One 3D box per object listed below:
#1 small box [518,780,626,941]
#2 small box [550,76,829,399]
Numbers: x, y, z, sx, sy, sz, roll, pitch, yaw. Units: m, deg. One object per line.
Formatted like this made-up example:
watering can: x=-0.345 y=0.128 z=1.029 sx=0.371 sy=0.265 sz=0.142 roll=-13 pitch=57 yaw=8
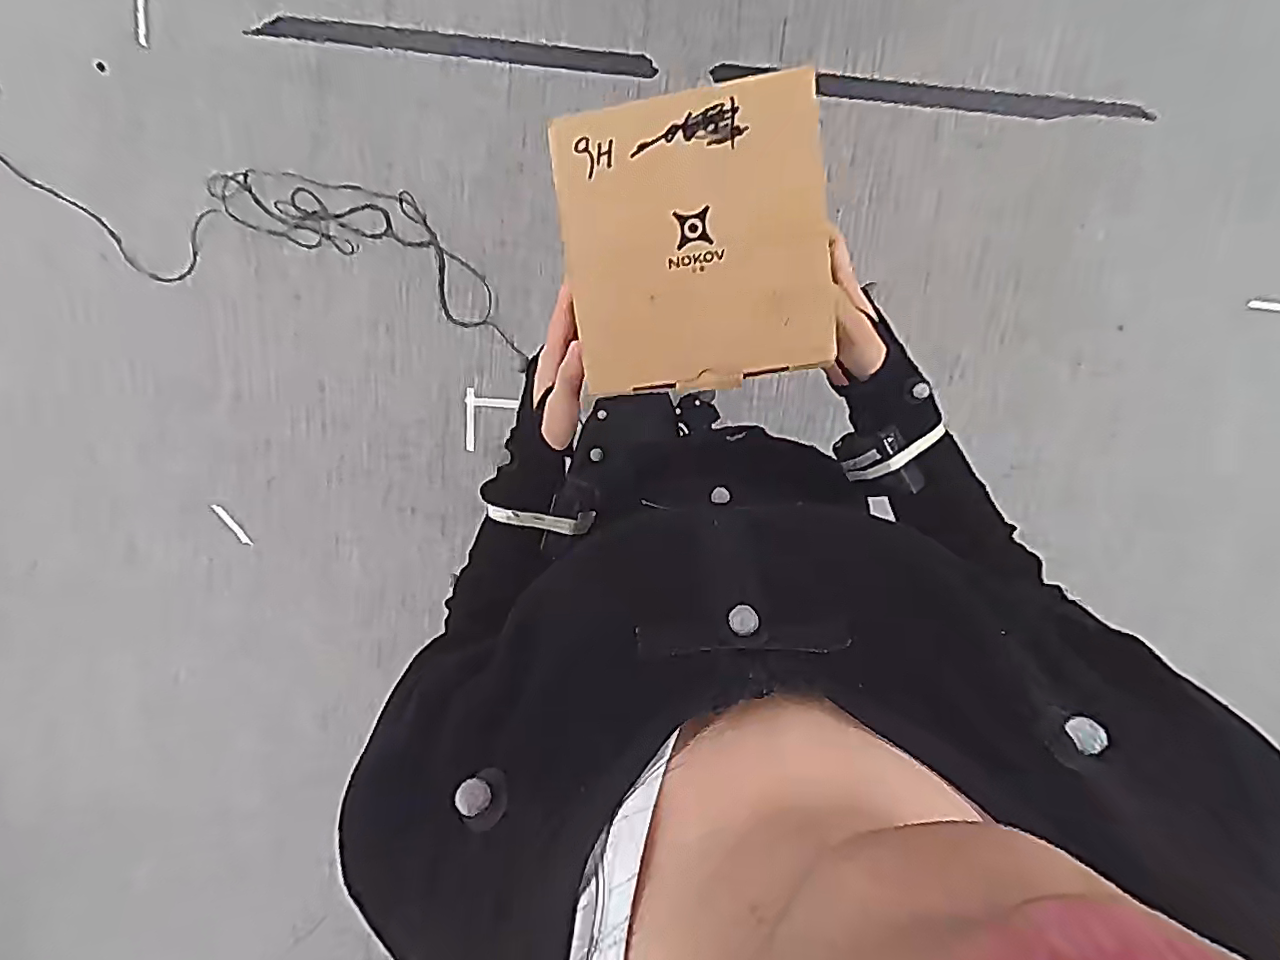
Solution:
small box: x=-0.125 y=0.736 z=1.060 sx=0.168 sy=0.176 sz=0.179 roll=13 pitch=98 yaw=-1
small box: x=0.040 y=-0.166 z=0.426 sx=0.168 sy=0.176 sz=0.179 roll=-7 pitch=101 yaw=5
